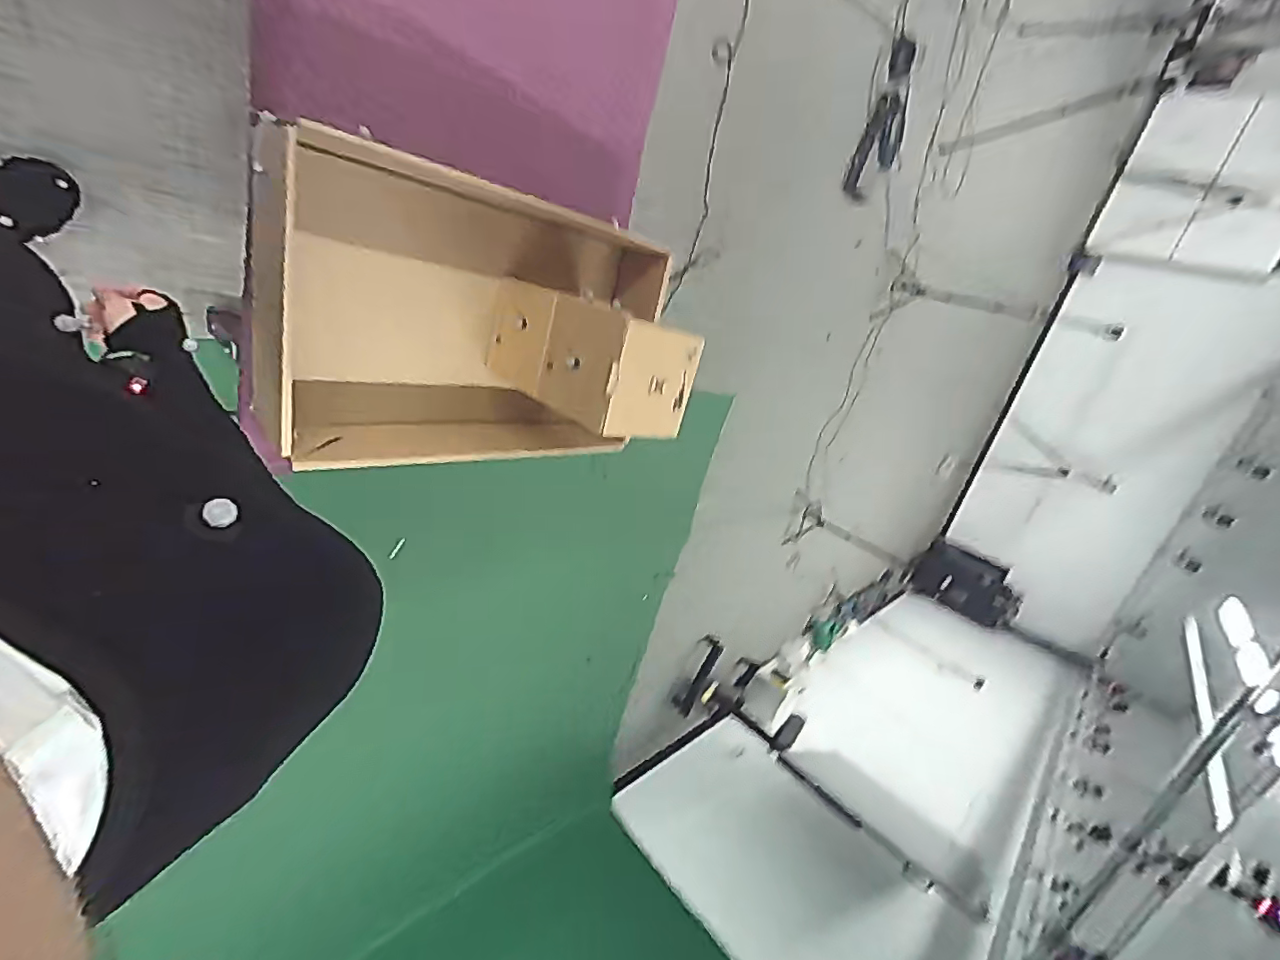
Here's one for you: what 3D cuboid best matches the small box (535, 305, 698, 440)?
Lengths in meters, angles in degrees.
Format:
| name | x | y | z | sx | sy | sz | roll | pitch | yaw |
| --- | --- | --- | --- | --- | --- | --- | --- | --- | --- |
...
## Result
| name | x | y | z | sx | sy | sz | roll | pitch | yaw |
| --- | --- | --- | --- | --- | --- | --- | --- | --- | --- |
| small box | -0.043 | -0.172 | 0.863 | 0.179 | 0.176 | 0.168 | -2 | 115 | -47 |

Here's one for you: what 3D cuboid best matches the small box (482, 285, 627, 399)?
| name | x | y | z | sx | sy | sz | roll | pitch | yaw |
| --- | --- | --- | --- | --- | --- | --- | --- | --- | --- |
| small box | -0.156 | -0.238 | 0.961 | 0.179 | 0.176 | 0.168 | -3 | 115 | -47 |
